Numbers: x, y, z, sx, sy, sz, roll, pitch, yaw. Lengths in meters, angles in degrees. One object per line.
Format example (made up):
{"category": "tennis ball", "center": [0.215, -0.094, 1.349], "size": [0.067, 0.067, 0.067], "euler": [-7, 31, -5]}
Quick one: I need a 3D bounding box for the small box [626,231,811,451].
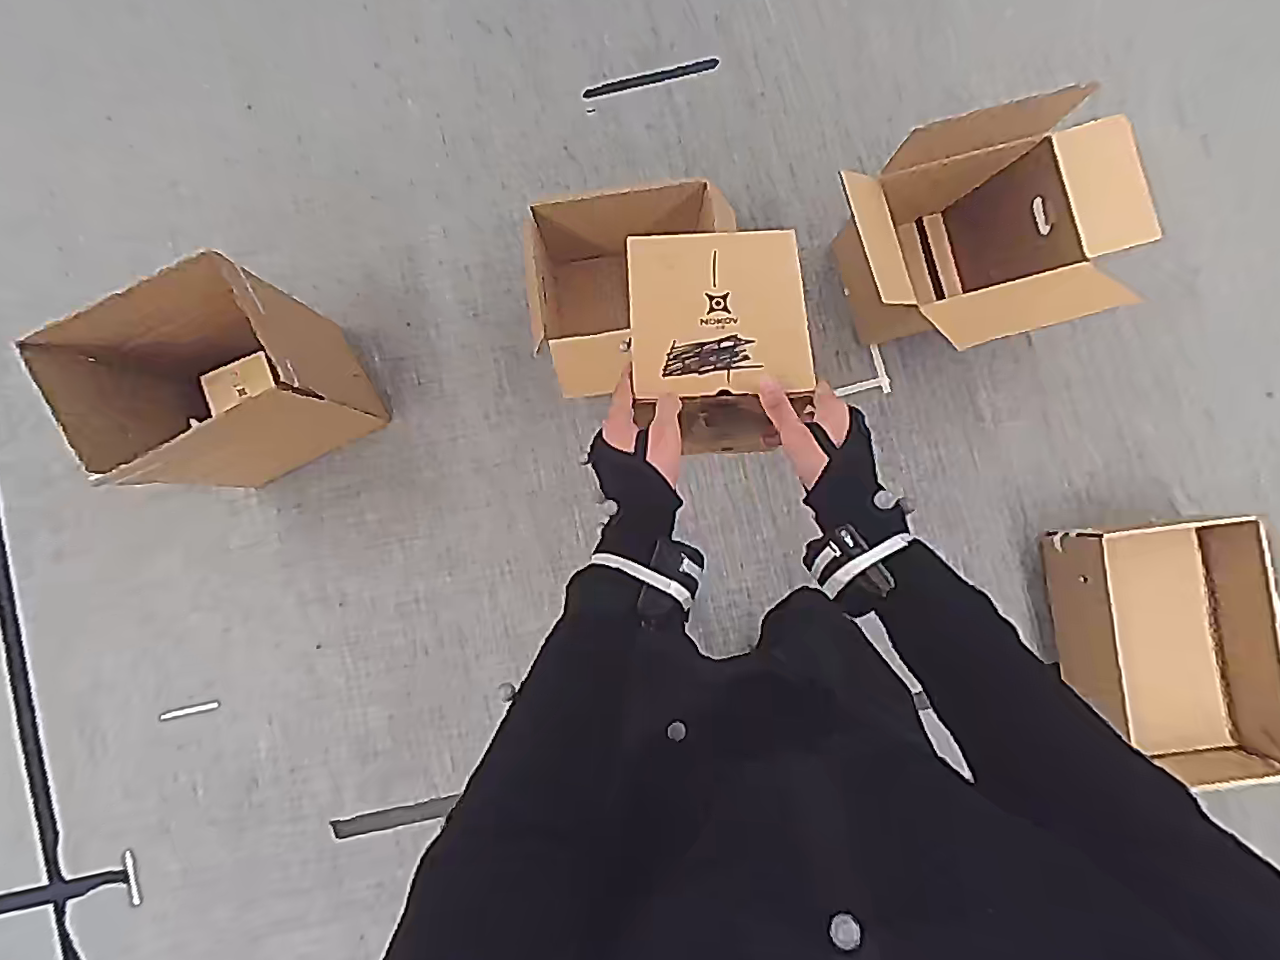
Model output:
{"category": "small box", "center": [0.072, -0.134, 0.582], "size": [0.168, 0.176, 0.179], "euler": [-2, 73, 0]}
